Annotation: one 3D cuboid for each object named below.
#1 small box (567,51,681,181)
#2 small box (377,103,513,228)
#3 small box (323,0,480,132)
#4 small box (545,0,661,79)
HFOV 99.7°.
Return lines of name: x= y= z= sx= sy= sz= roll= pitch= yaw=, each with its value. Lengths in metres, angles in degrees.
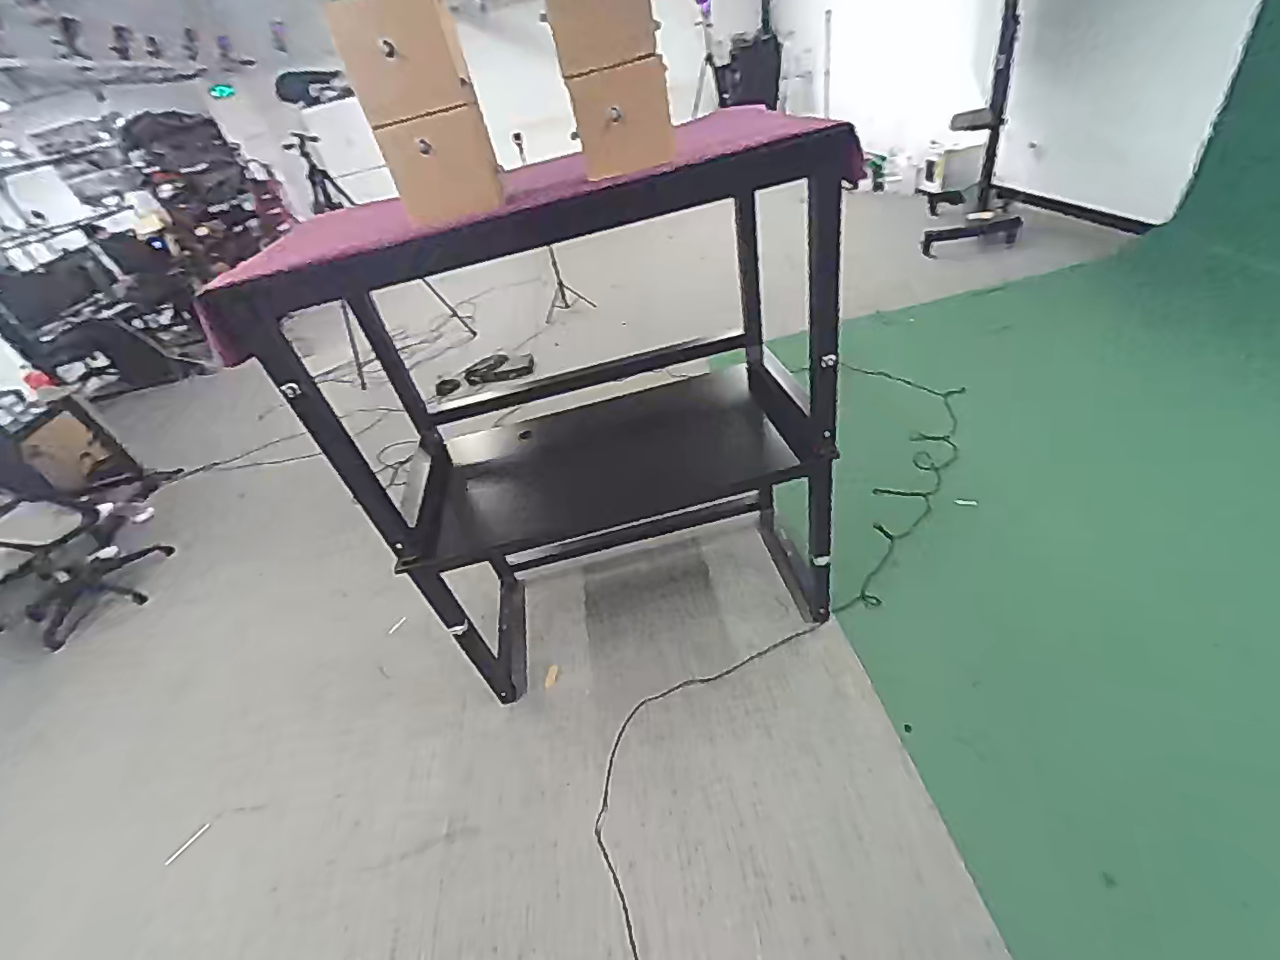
small box: x=-0.030 y=-0.696 z=1.040 sx=0.179 sy=0.176 sz=0.168 roll=-14 pitch=38 yaw=4
small box: x=-0.363 y=-0.604 z=1.042 sx=0.179 sy=0.176 sz=0.168 roll=-14 pitch=38 yaw=3
small box: x=-0.398 y=-0.729 z=0.941 sx=0.179 sy=0.176 sz=0.168 roll=-14 pitch=37 yaw=3
small box: x=-0.070 y=-0.820 z=0.941 sx=0.179 sy=0.176 sz=0.168 roll=-12 pitch=38 yaw=5
